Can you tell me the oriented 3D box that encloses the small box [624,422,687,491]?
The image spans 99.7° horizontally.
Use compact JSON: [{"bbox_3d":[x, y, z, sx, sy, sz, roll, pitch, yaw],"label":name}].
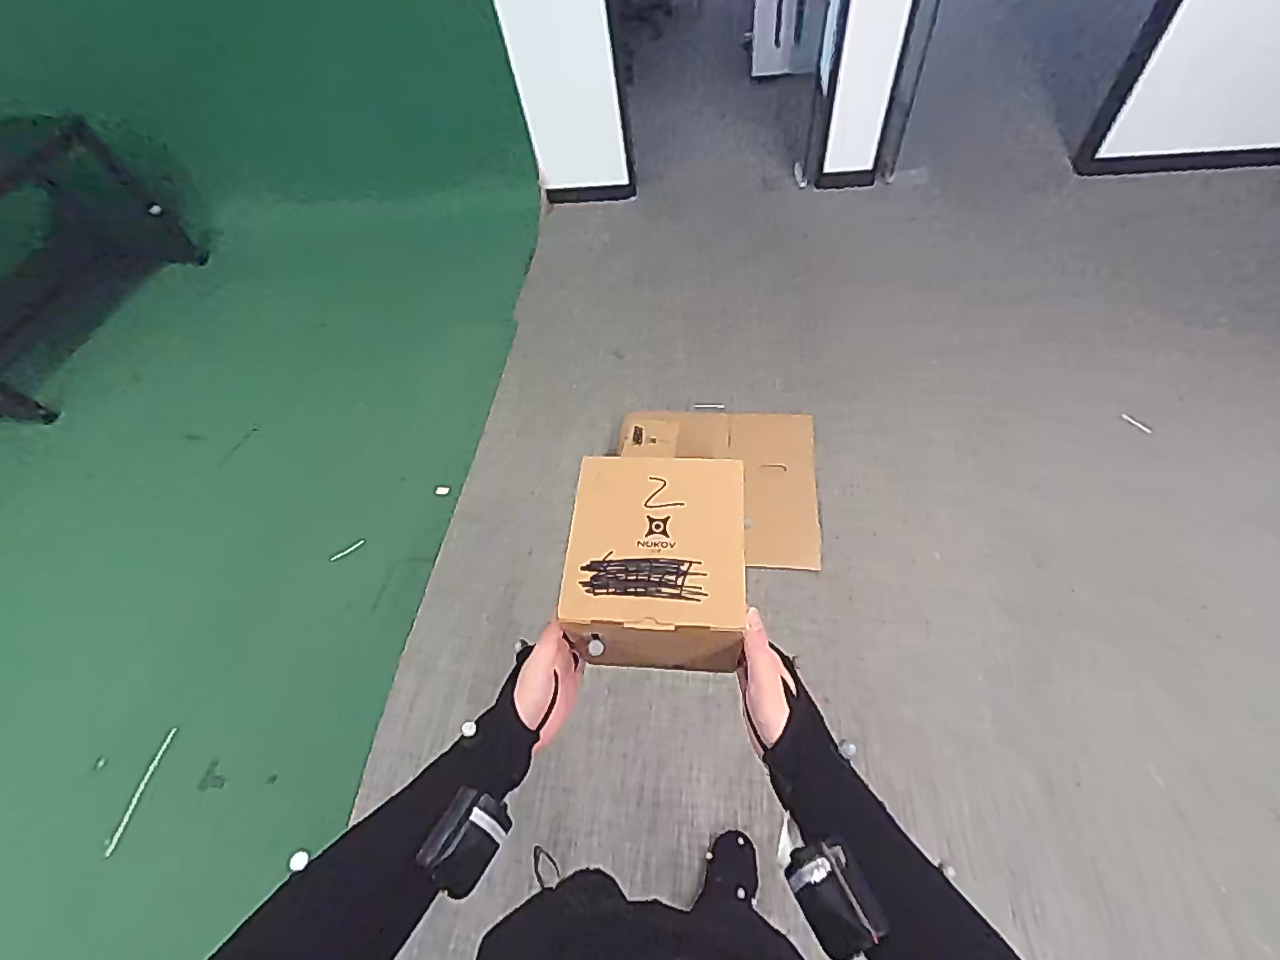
[{"bbox_3d":[0.058,-0.077,1.841,0.179,0.176,0.168,6,59,12],"label":"small box"}]
